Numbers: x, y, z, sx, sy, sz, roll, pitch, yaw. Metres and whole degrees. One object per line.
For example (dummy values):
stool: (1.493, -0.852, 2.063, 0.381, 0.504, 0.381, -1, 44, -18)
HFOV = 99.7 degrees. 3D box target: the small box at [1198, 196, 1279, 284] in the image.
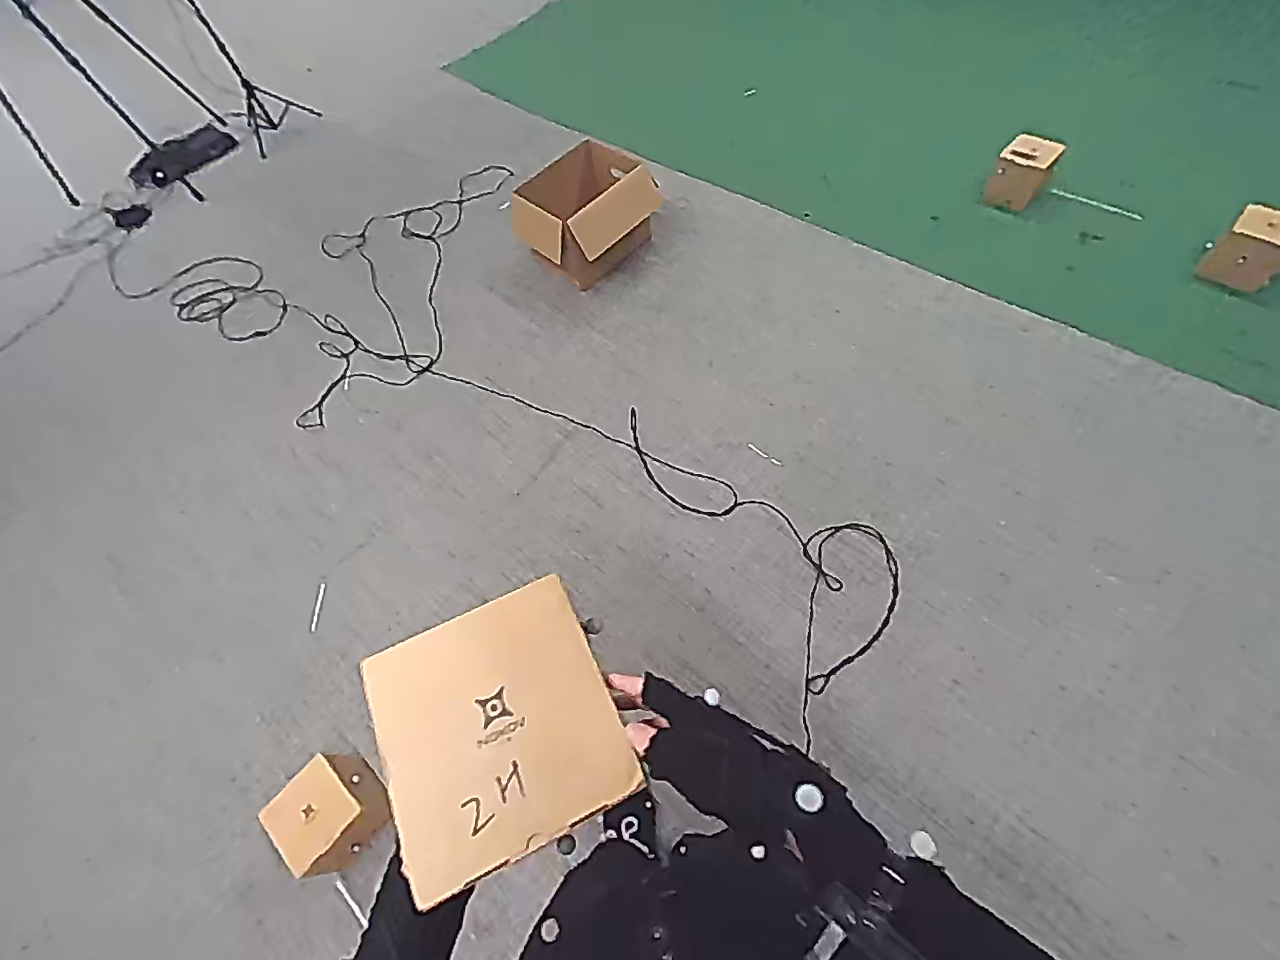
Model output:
small box: (1.950, -0.751, 1.708, 0.179, 0.176, 0.168, 37, 72, 25)

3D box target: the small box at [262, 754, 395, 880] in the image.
small box: (-0.693, 0.756, 1.225, 0.179, 0.176, 0.168, 35, 70, 22)

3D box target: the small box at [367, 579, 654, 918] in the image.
small box: (-0.098, 0.215, 0.457, 0.168, 0.176, 0.179, -23, 64, -10)
